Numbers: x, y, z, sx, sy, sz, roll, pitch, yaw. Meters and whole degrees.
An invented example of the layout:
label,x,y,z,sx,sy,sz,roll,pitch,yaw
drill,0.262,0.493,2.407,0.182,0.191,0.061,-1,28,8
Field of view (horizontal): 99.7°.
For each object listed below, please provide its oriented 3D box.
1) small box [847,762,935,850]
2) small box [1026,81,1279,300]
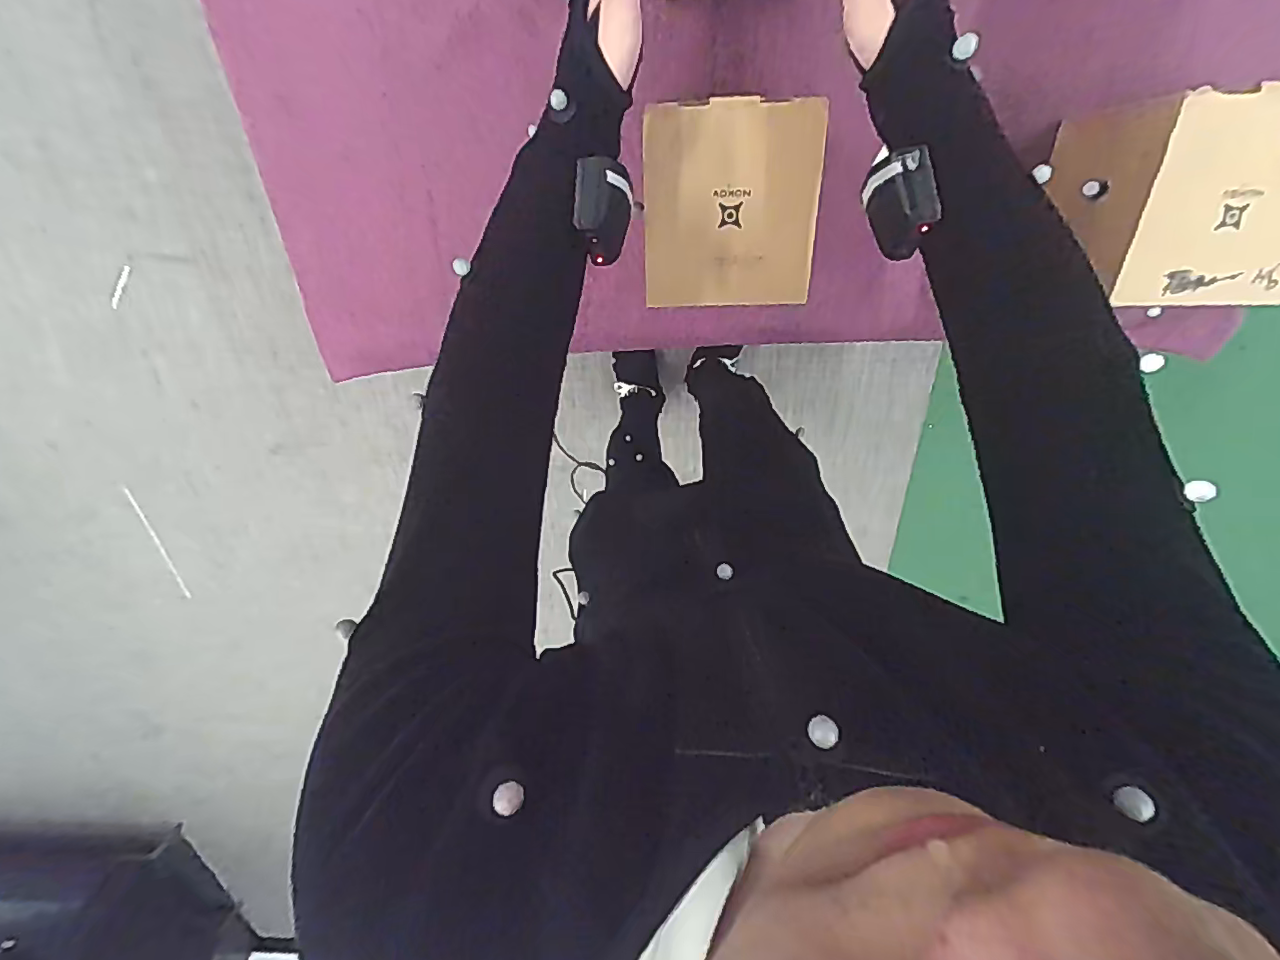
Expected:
label,x,y,z,sx,sy,sz,roll,pitch,yaw
small box,0.809,1.056,1.764,0.179,0.176,0.168,34,116,-15
small box,0.544,-0.288,0.557,0.168,0.176,0.179,1,117,4
